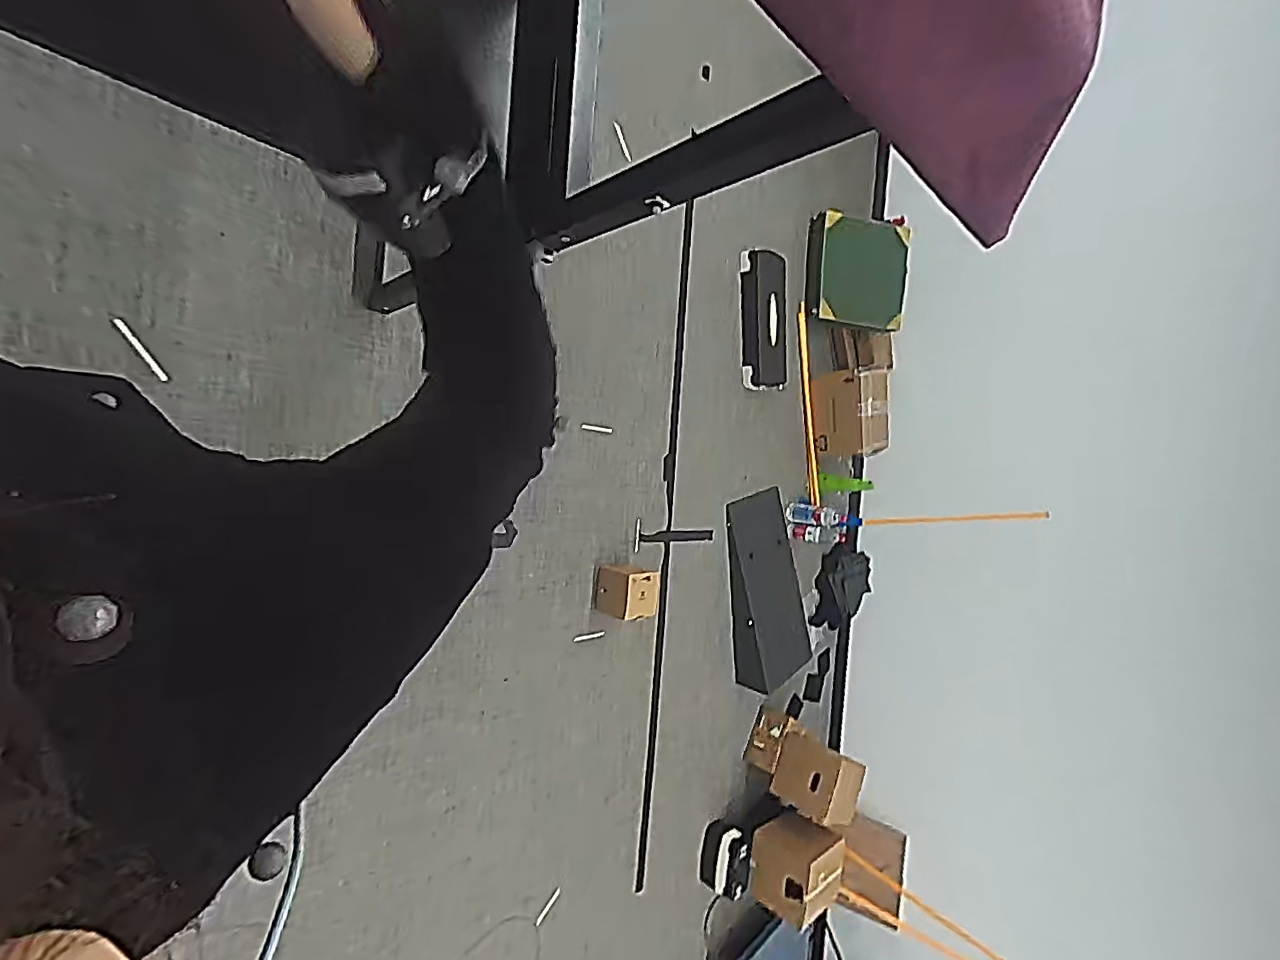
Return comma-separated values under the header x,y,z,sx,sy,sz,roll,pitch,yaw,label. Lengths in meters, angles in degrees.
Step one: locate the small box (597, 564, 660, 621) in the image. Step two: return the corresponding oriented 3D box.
x,y,z,sx,sy,sz,roll,pitch,yaw,label
-0.048,0.429,2.090,0.168,0.176,0.179,5,91,-46,small box
